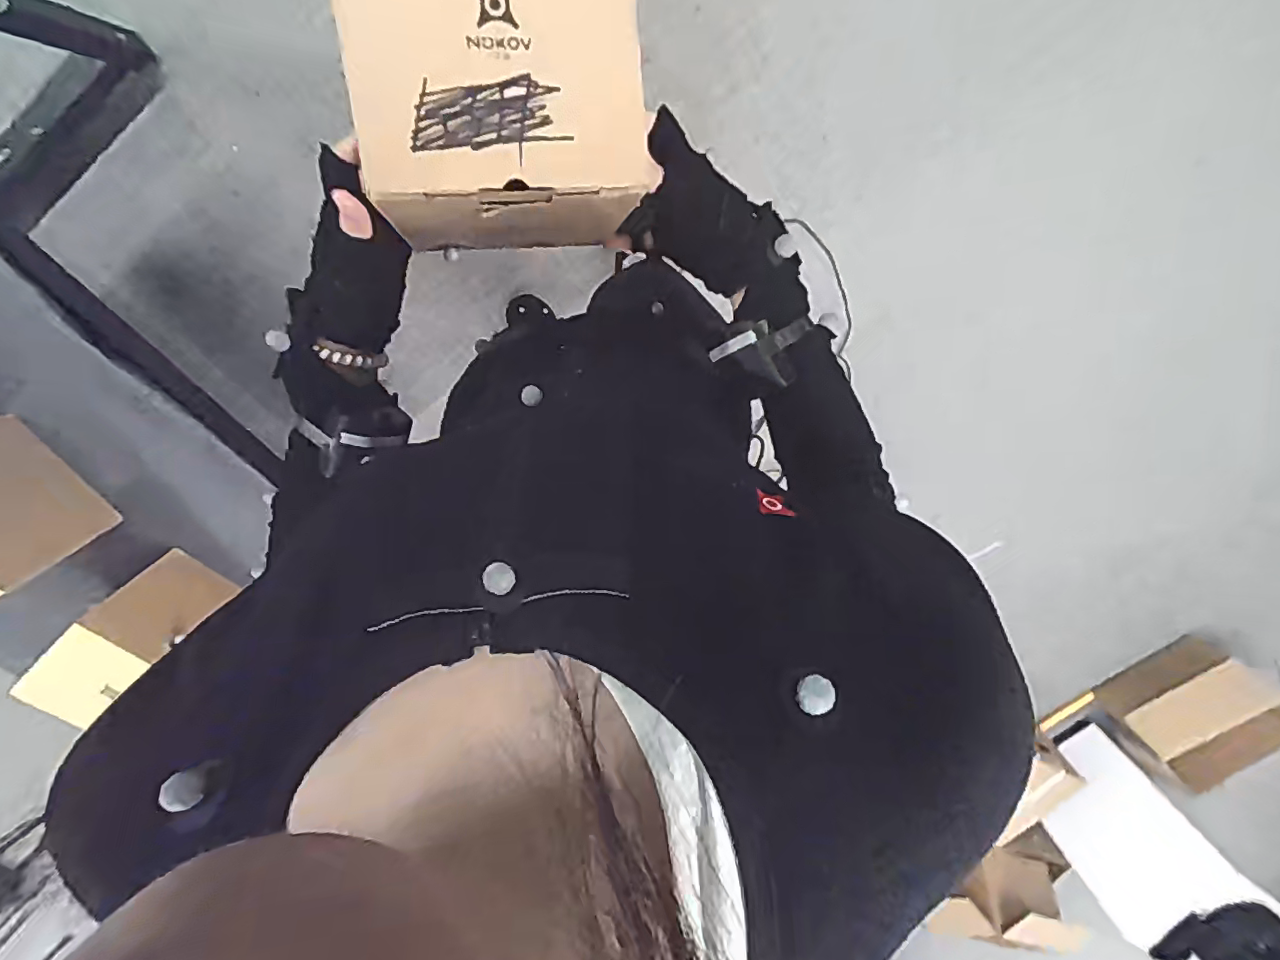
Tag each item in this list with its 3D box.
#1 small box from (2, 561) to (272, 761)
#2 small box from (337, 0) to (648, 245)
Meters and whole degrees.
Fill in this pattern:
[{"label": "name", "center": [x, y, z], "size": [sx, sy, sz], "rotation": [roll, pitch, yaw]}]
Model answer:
[{"label": "small box", "center": [-0.669, 0.236, 0.745], "size": [0.168, 0.176, 0.179], "rotation": [-38, 113, 13]}, {"label": "small box", "center": [-0.097, -0.269, 0.375], "size": [0.168, 0.176, 0.179], "rotation": [-7, 102, -13]}]
